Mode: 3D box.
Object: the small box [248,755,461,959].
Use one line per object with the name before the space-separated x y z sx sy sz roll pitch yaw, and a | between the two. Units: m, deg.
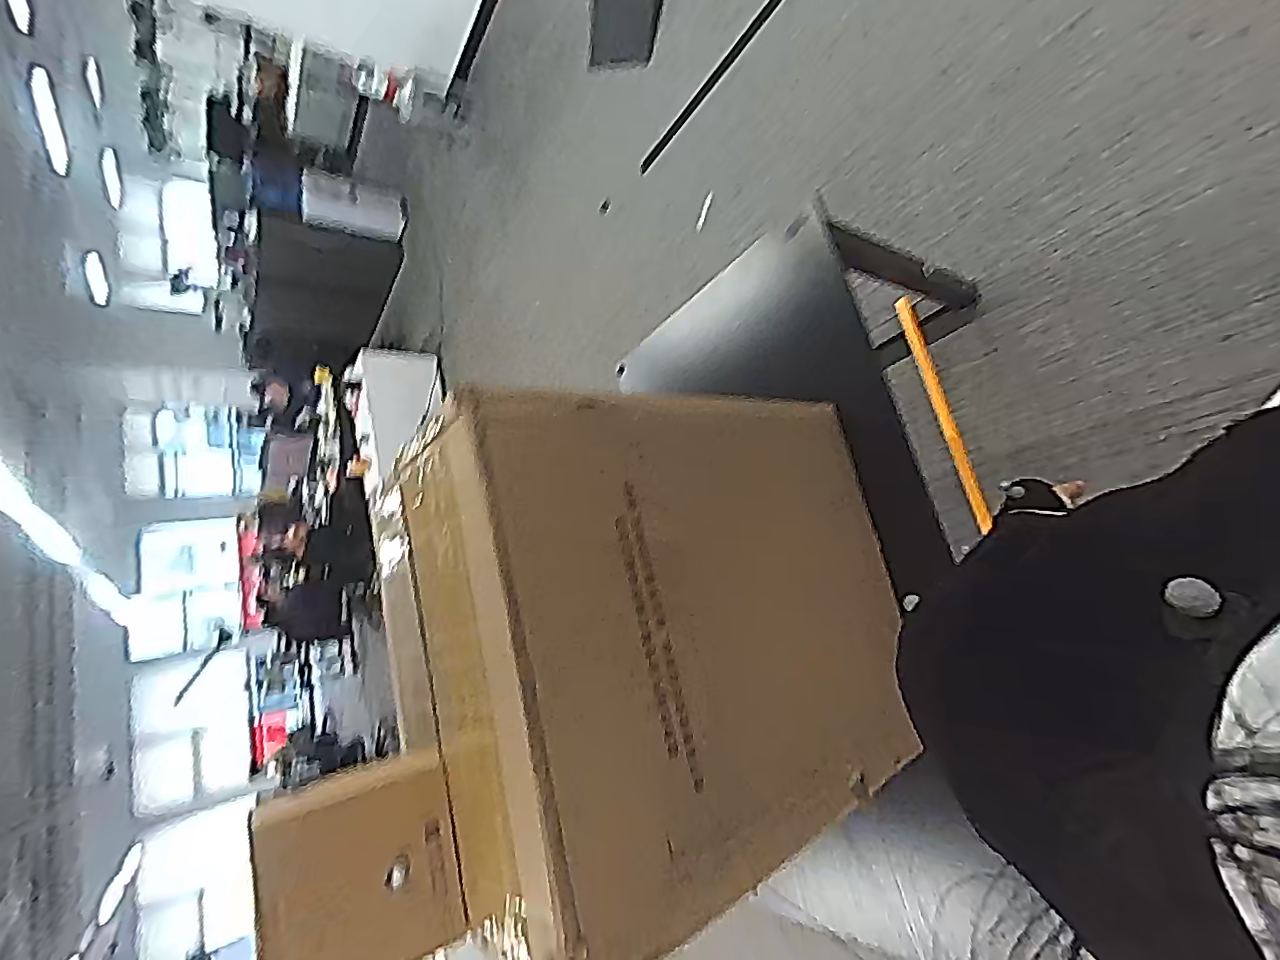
small box | -0.299 0.403 0.563 0.179 0.176 0.168 -33 67 50
